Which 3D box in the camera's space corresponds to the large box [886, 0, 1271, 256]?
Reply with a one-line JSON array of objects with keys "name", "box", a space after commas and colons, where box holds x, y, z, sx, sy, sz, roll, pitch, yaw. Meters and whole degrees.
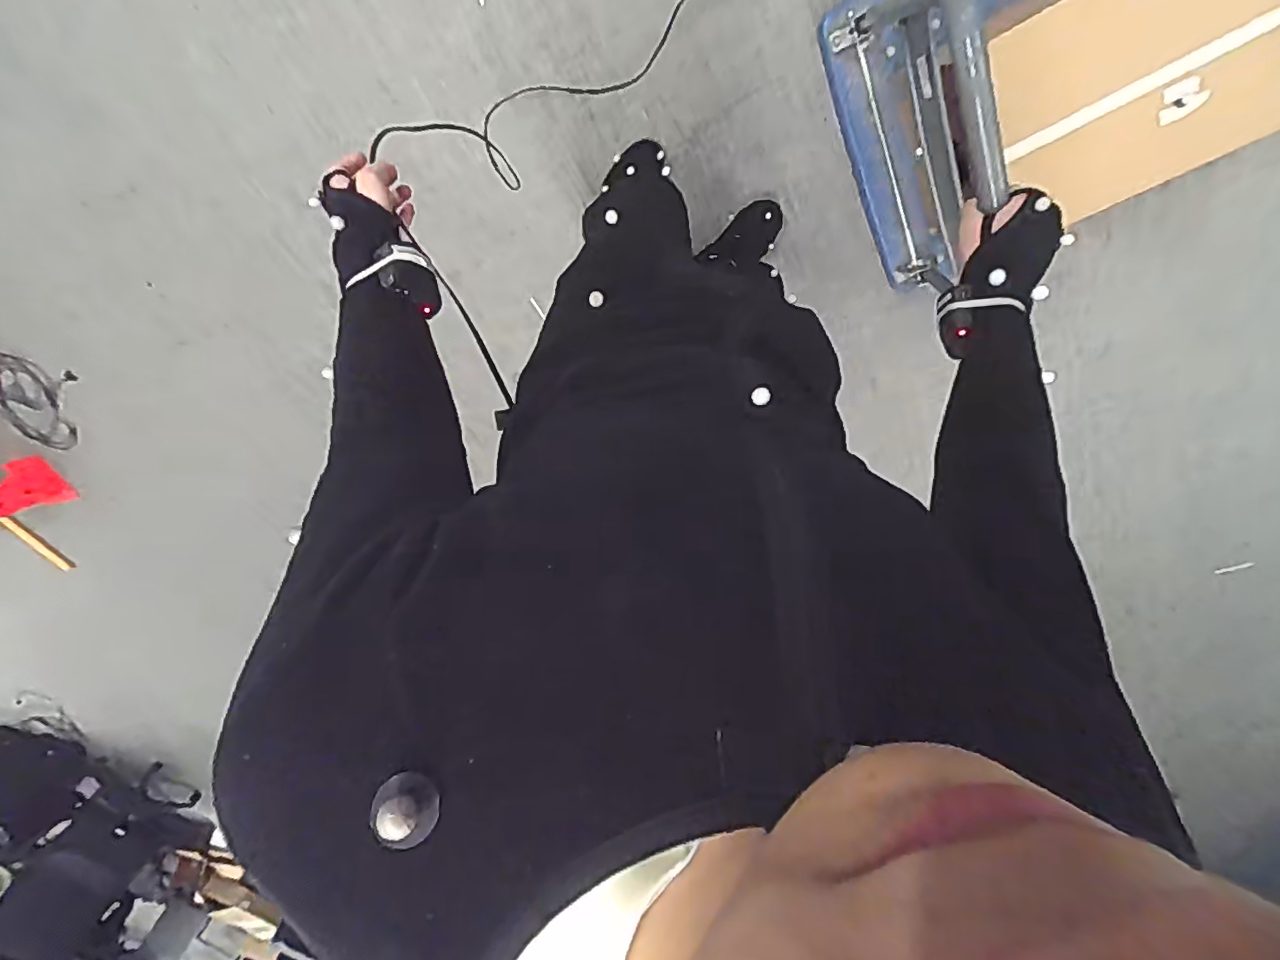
[{"name": "large box", "box": [0.711, -0.655, 0.937, 0.408, 0.320, 0.320, -23, 119, 19]}]
